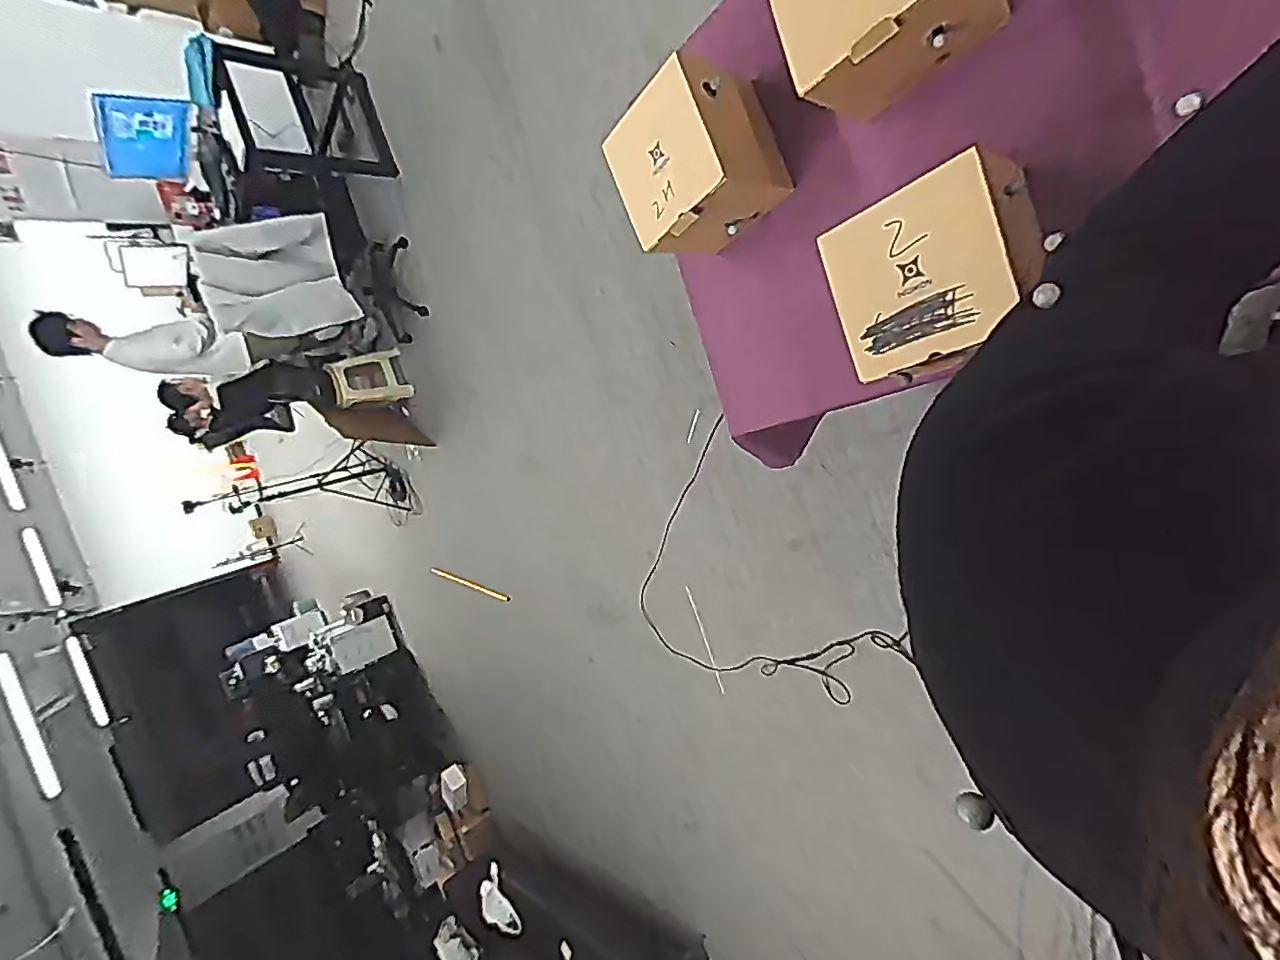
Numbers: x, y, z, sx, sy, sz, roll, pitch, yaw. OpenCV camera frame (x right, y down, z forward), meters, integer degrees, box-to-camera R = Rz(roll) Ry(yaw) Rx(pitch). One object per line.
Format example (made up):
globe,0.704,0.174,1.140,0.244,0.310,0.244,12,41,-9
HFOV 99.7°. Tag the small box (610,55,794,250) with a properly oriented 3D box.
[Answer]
small box,0.091,-0.454,0.786,0.168,0.176,0.179,-22,89,49

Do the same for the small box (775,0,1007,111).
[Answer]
small box,0.260,-0.529,0.573,0.168,0.176,0.179,-14,95,48
